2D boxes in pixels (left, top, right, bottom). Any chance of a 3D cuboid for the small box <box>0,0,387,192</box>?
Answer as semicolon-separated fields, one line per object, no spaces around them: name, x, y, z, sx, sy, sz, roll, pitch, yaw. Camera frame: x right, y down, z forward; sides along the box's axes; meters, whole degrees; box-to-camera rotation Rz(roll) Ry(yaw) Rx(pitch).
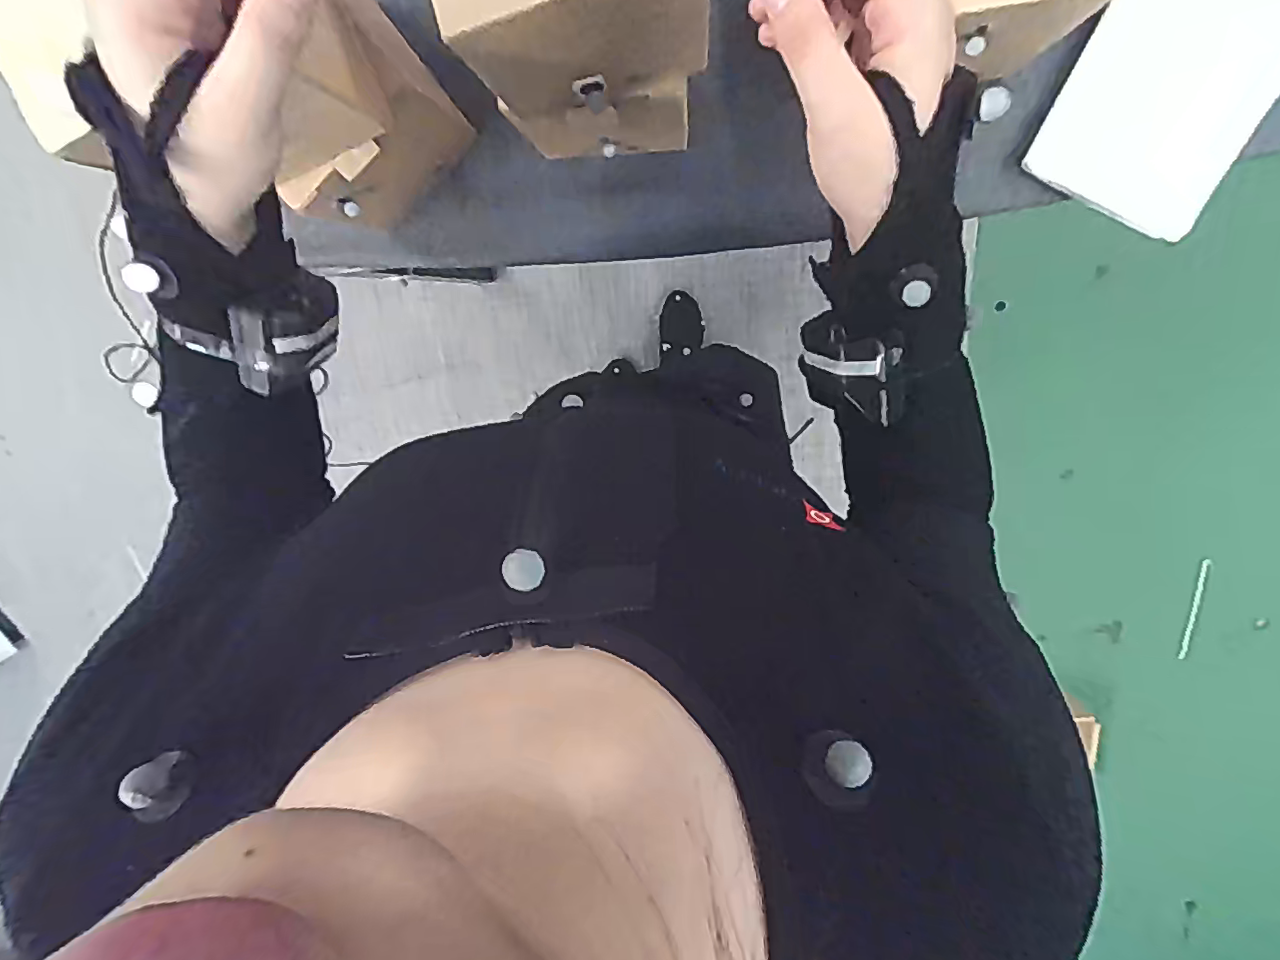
small box;-0.335;-0.342;0.405;0.179;0.176;0.168;-18;106;12

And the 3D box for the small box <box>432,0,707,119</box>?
small box;-0.052;-0.385;0.364;0.168;0.176;0.179;-12;107;10

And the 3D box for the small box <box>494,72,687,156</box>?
small box;-0.041;-0.436;0.518;0.168;0.176;0.179;-1;108;7

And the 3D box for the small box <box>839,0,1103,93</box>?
small box;0.285;-0.473;0.473;0.179;0.176;0.168;-5;107;8
